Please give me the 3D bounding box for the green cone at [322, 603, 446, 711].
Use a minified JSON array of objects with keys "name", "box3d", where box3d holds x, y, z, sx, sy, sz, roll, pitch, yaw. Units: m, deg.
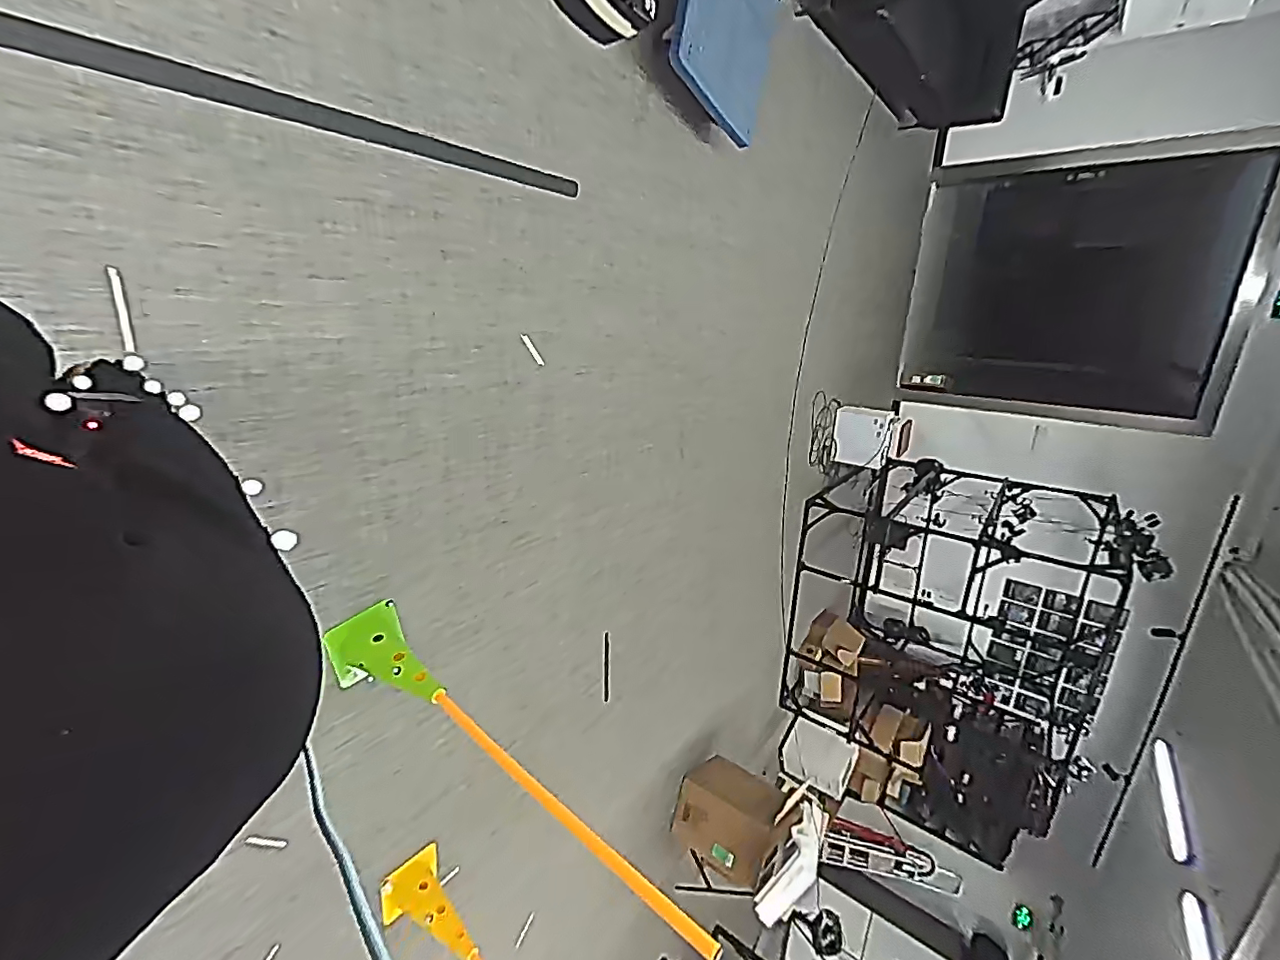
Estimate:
[{"name":"green cone","box3d":[-0.642,0.508,1.431,0.200,0.368,0.202,-32,128,-45]}]
